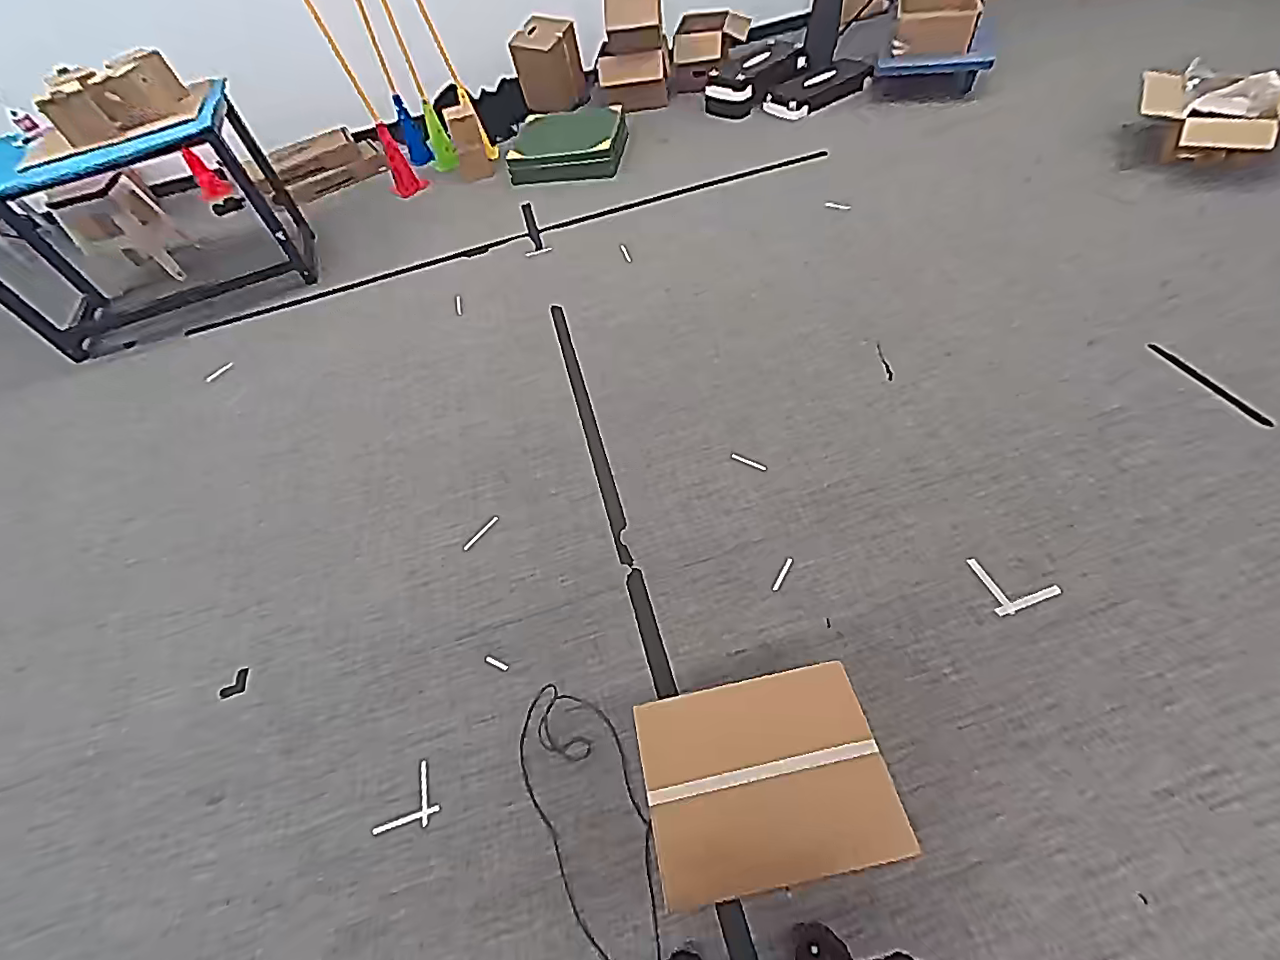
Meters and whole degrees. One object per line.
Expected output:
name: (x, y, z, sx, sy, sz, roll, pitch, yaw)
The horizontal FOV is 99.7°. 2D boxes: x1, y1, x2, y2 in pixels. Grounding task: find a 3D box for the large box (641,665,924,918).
large box: (0.239, 0.600, 1.037, 0.408, 0.320, 0.320, -12, 52, -1)
